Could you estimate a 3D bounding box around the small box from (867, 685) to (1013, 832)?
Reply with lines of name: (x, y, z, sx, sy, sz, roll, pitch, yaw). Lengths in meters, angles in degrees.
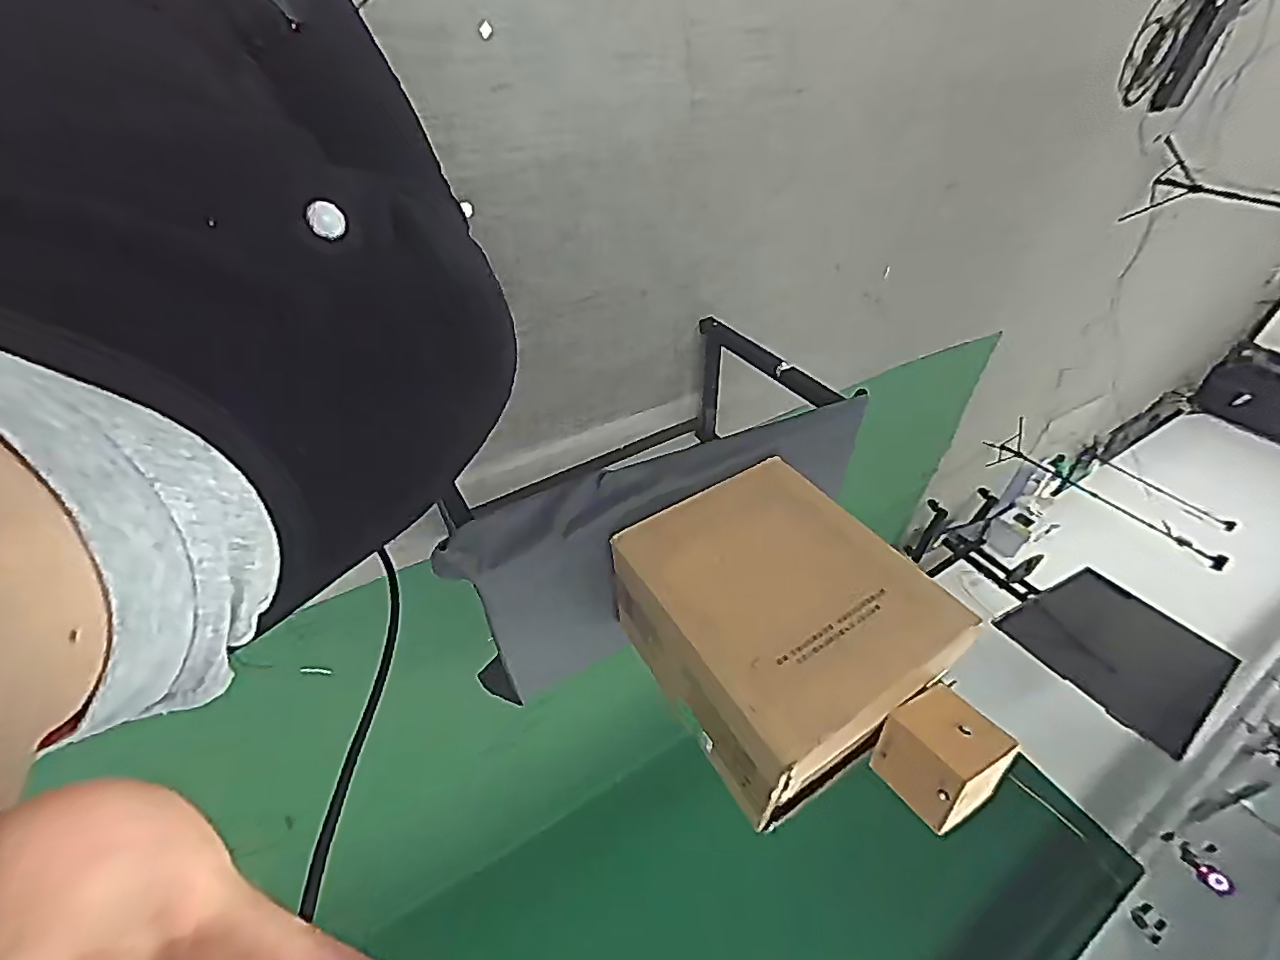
small box: (0.598, 0.550, 1.094, 0.179, 0.176, 0.168, -12, 121, -28)
